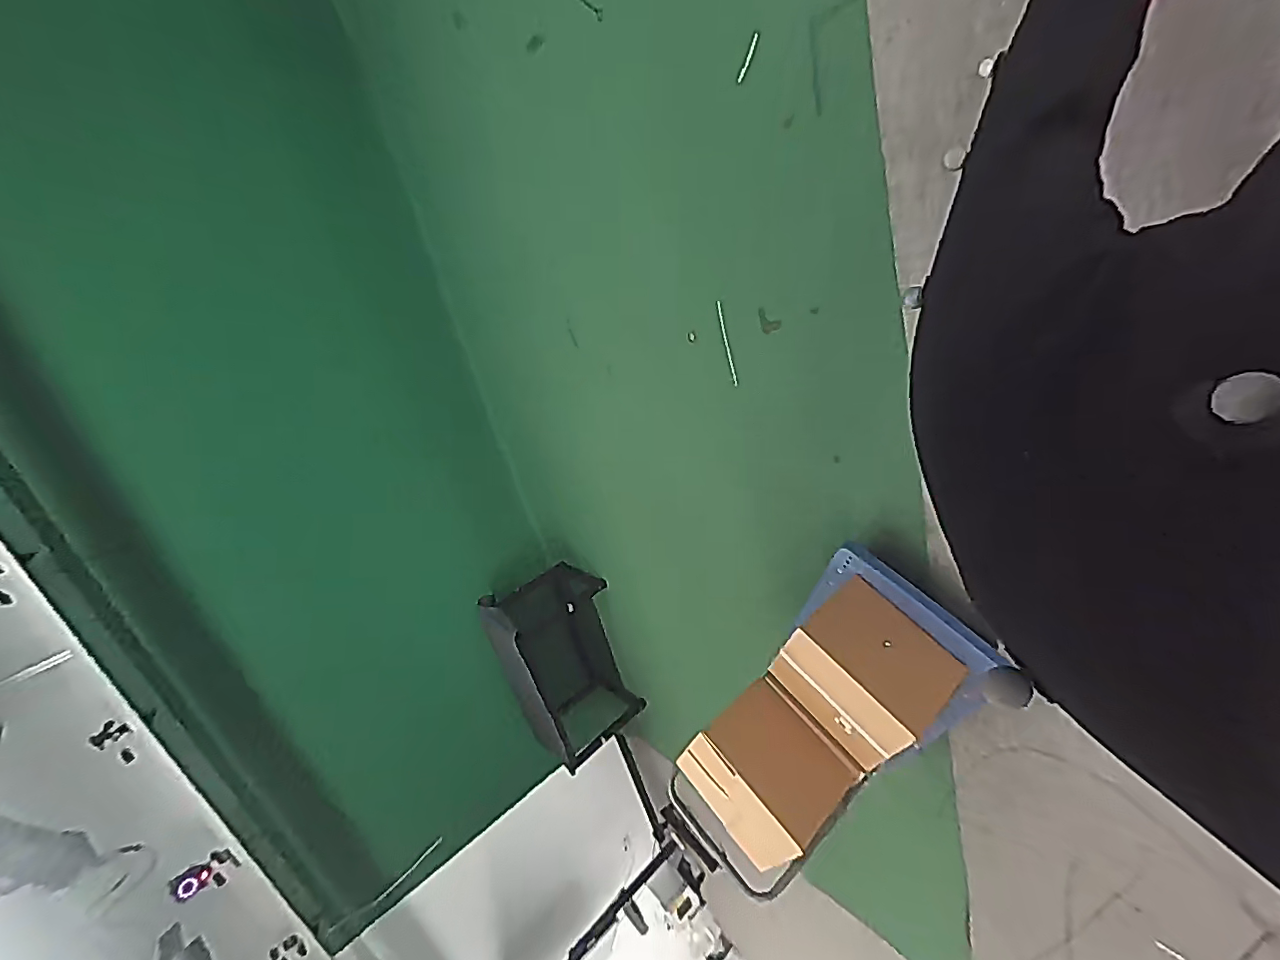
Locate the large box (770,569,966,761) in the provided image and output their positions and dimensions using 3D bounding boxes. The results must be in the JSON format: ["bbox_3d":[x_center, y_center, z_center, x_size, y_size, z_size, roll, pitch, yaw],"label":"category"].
[{"bbox_3d":[0.687,0.561,1.679,0.408,0.320,0.320,43,146,26],"label":"large box"}]
